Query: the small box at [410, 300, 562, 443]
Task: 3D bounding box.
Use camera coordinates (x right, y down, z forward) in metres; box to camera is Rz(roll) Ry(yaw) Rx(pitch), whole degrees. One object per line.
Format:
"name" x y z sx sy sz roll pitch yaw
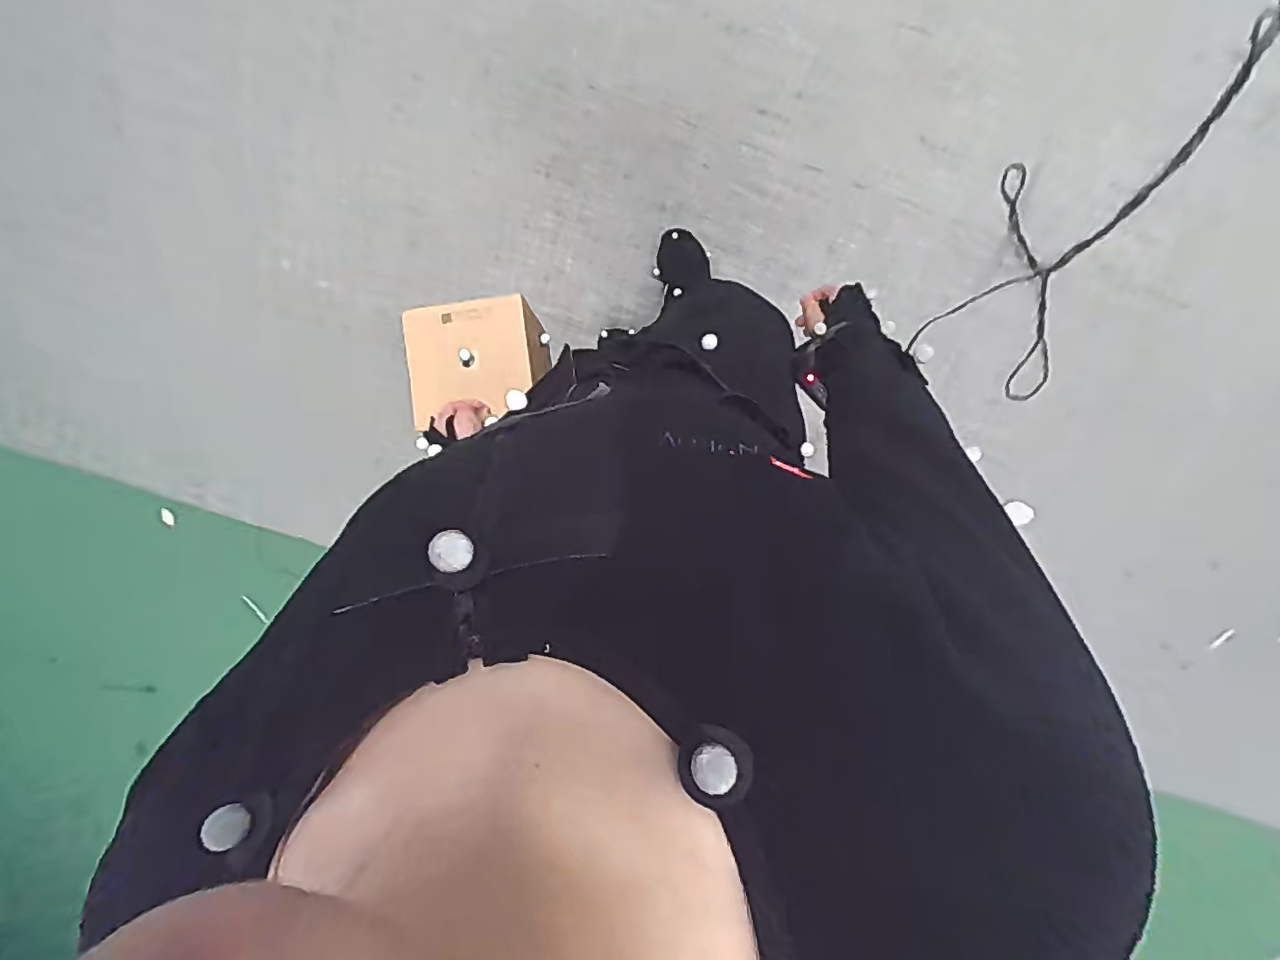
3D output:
"small box" -0.221 -0.158 0.802 0.168 0.179 0.176 -8 88 1
